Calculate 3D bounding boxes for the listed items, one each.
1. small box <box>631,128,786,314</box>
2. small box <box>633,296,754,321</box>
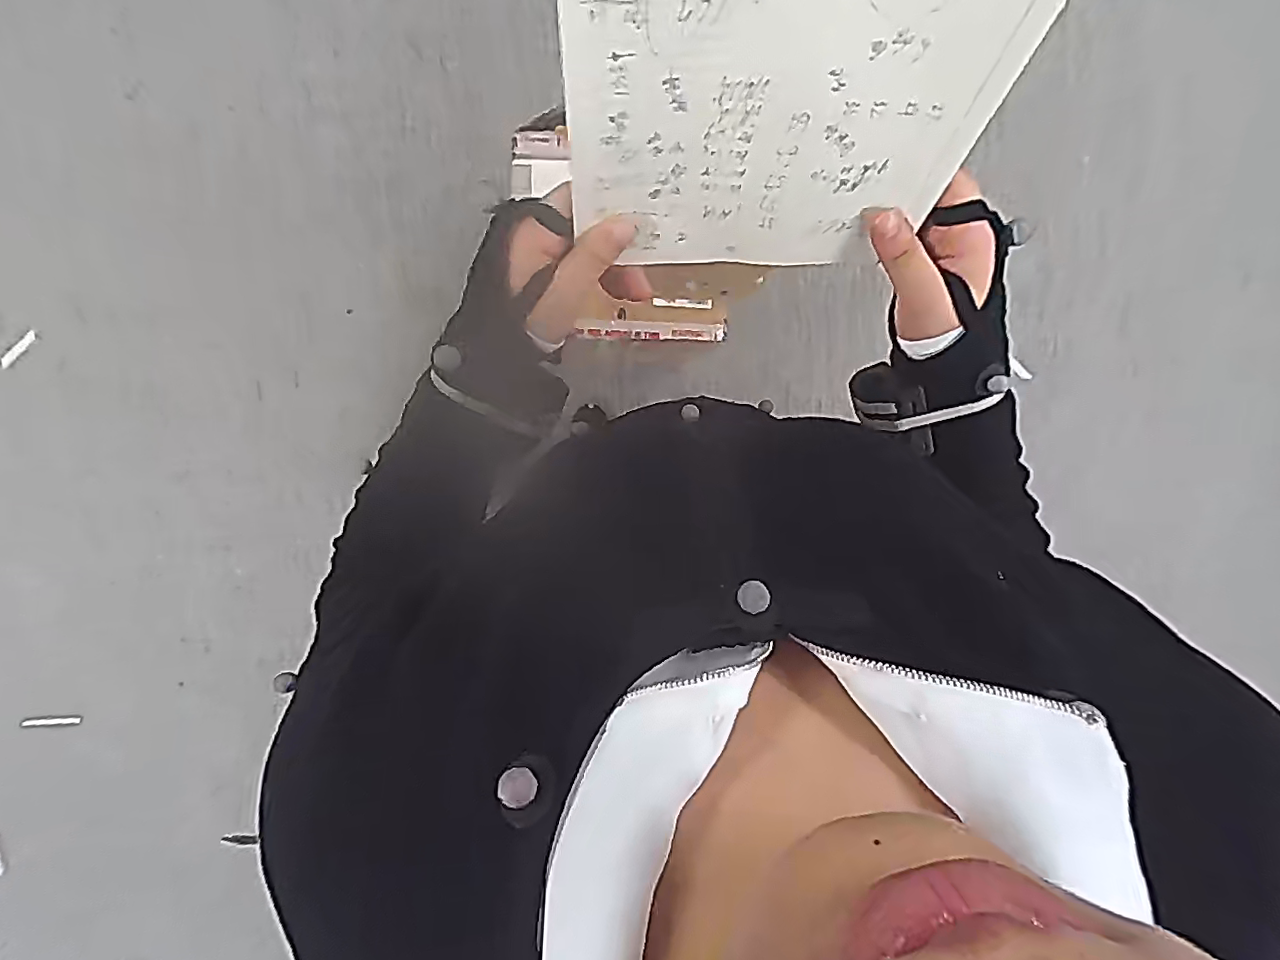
[{"bbox_3d":[0.079,-0.332,0.727,0.168,0.176,0.179,4,99,-6],"label":"small box"},{"bbox_3d":[0.084,-0.359,0.891,0.179,0.176,0.168,0,99,-5],"label":"small box"}]
